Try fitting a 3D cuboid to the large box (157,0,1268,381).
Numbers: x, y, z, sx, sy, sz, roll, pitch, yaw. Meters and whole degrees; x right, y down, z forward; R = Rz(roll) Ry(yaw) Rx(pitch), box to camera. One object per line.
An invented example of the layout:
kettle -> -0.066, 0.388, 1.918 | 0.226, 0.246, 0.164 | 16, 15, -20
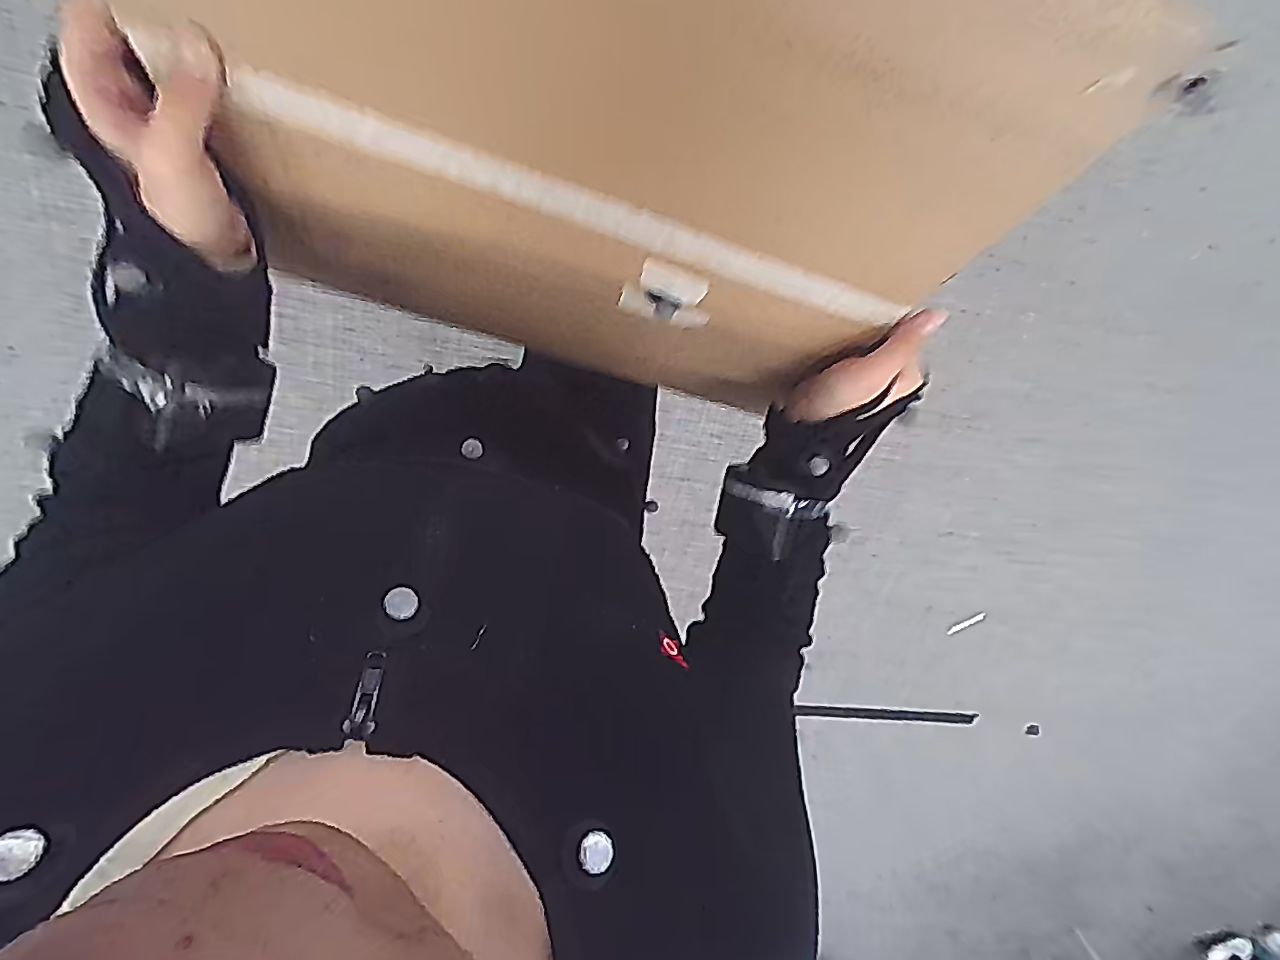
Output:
large box -> 0.008, -0.307, 0.307 | 0.408, 0.320, 0.320 | 13, 70, -13
